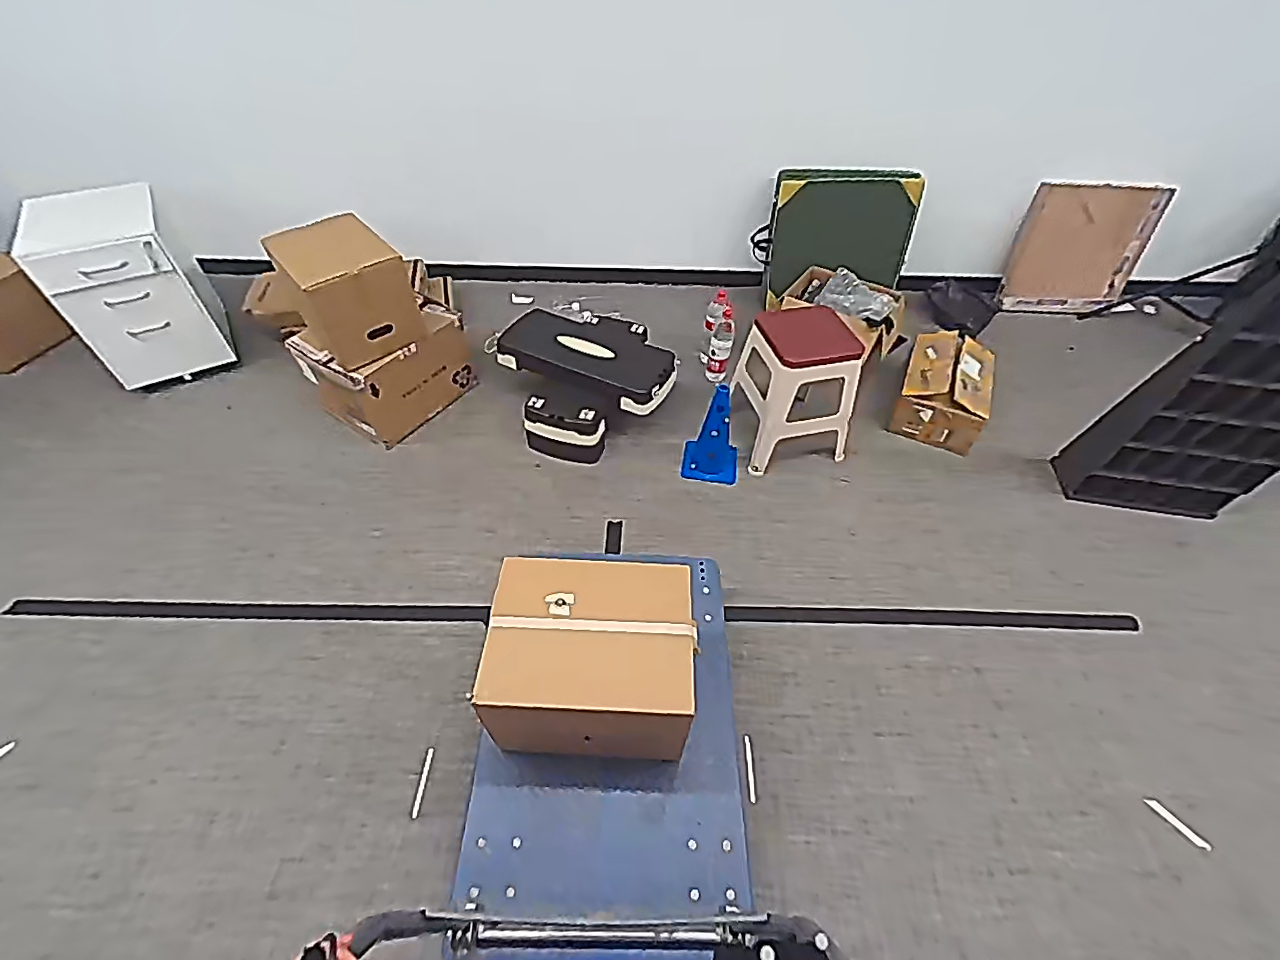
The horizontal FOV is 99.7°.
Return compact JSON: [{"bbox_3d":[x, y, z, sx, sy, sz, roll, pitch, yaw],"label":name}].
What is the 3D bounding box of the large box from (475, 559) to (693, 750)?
[{"bbox_3d":[-0.099,0.389,1.187,0.408,0.320,0.320,2,49,1],"label":"large box"}]
